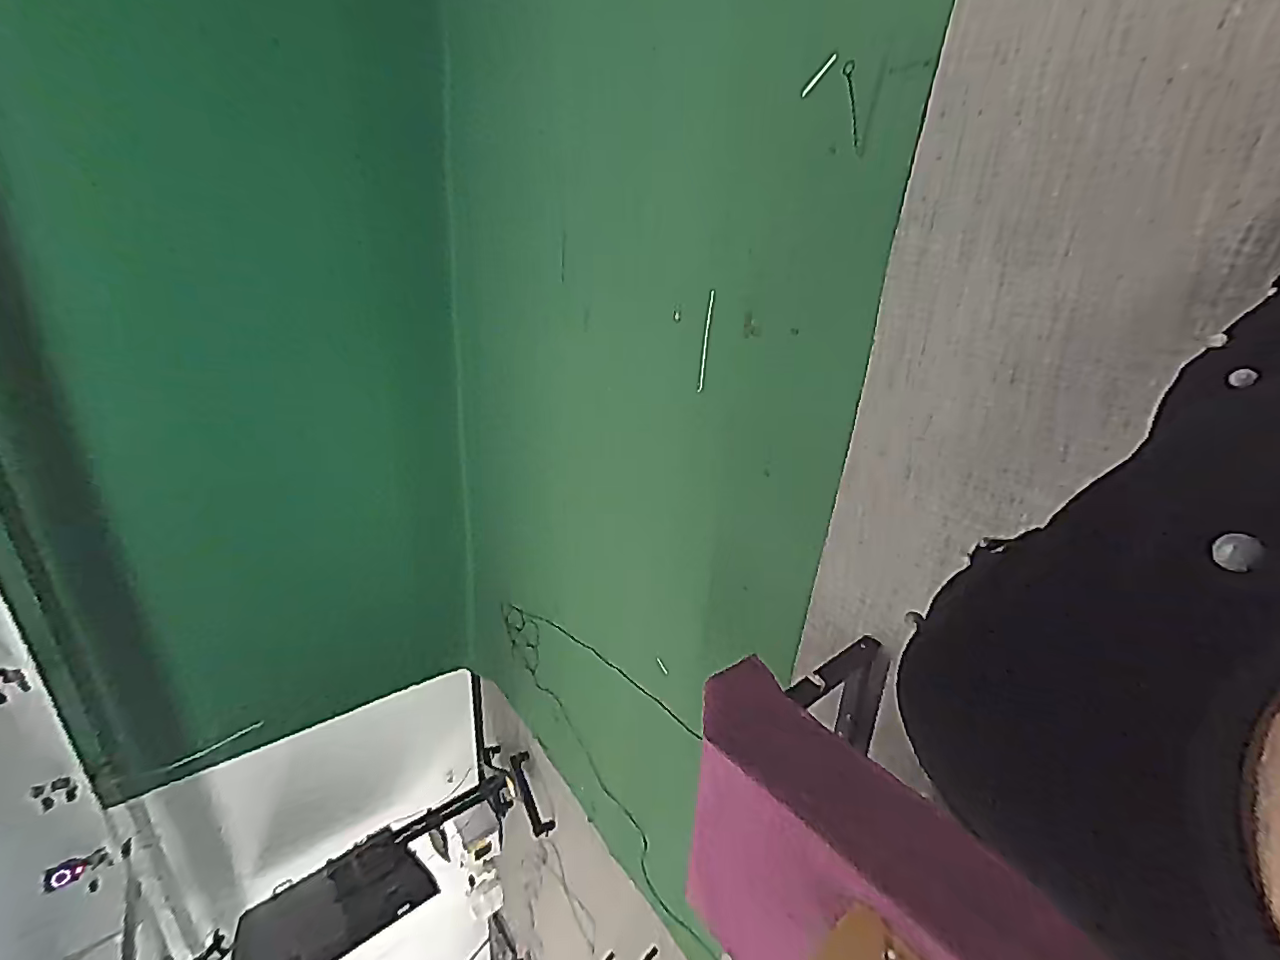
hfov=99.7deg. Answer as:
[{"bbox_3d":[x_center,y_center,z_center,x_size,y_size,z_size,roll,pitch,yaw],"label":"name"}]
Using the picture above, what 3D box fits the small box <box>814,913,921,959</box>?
[{"bbox_3d":[0.407,0.913,0.942,0.179,0.176,0.168,28,123,45],"label":"small box"}]
